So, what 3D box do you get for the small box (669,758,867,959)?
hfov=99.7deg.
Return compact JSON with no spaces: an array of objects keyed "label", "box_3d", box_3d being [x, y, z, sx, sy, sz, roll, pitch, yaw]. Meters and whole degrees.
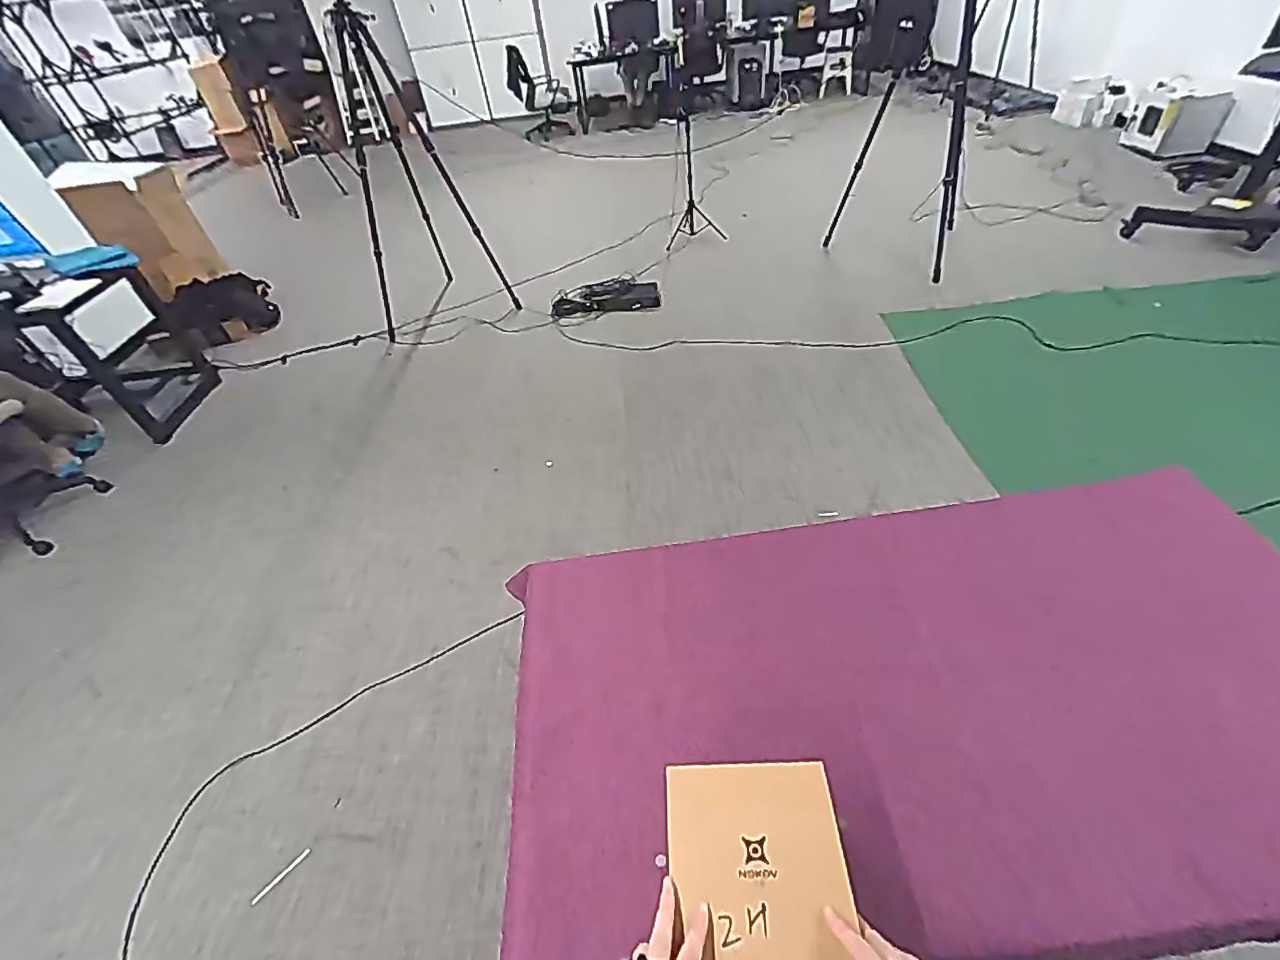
[{"label":"small box","box_3d":[0.118,0.414,0.562,0.168,0.176,0.179,-5,43,5]}]
